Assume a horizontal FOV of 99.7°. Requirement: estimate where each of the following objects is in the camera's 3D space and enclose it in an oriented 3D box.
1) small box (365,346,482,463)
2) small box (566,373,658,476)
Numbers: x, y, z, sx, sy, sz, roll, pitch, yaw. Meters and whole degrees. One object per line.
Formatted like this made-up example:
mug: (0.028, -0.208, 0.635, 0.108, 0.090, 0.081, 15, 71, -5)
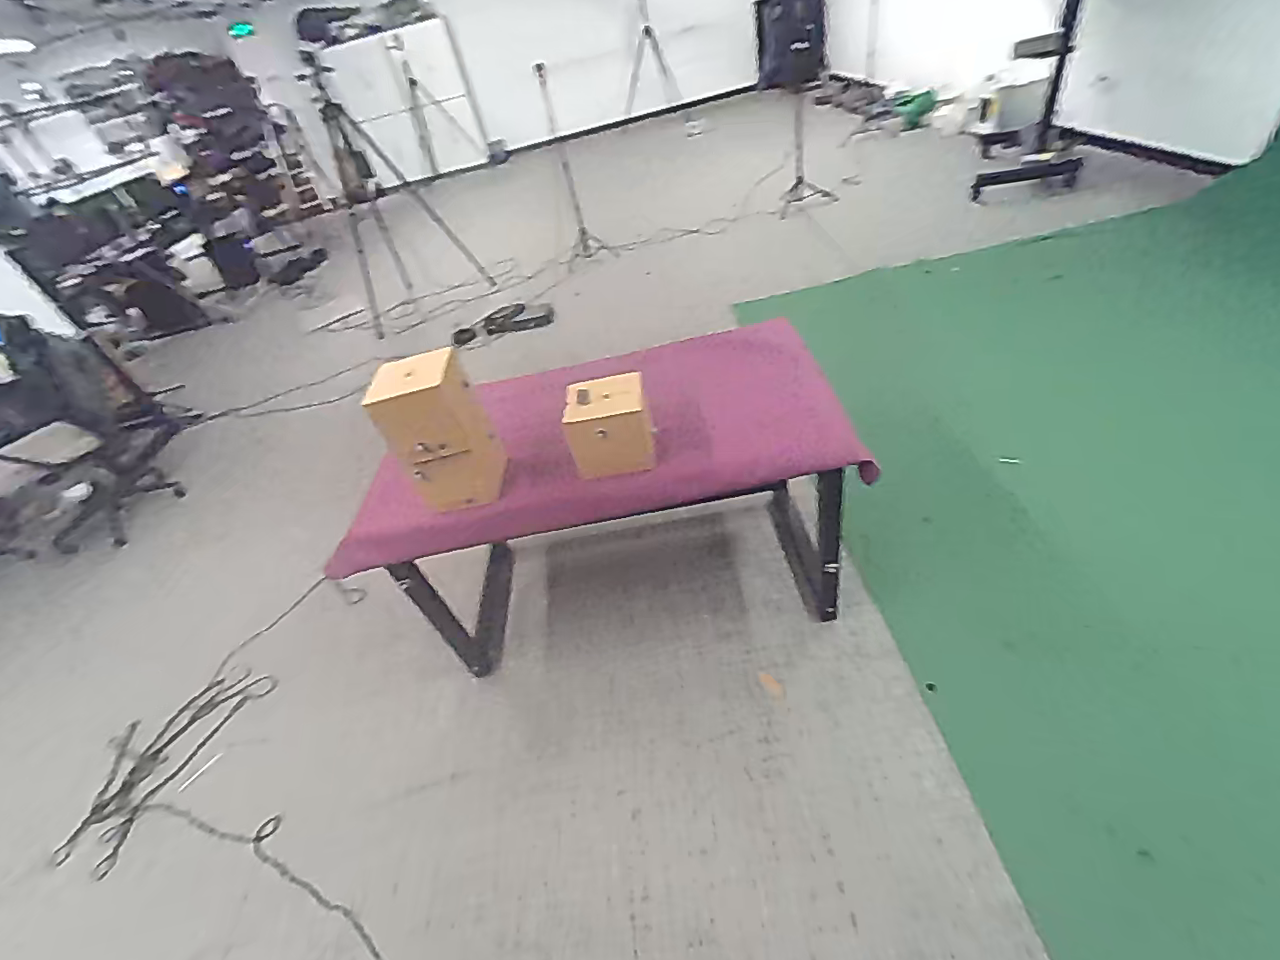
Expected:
small box: (-0.455, -0.162, 1.172, 0.168, 0.176, 0.179, -14, 40, 2)
small box: (-0.061, -0.125, 1.260, 0.179, 0.176, 0.168, -9, 40, 6)
